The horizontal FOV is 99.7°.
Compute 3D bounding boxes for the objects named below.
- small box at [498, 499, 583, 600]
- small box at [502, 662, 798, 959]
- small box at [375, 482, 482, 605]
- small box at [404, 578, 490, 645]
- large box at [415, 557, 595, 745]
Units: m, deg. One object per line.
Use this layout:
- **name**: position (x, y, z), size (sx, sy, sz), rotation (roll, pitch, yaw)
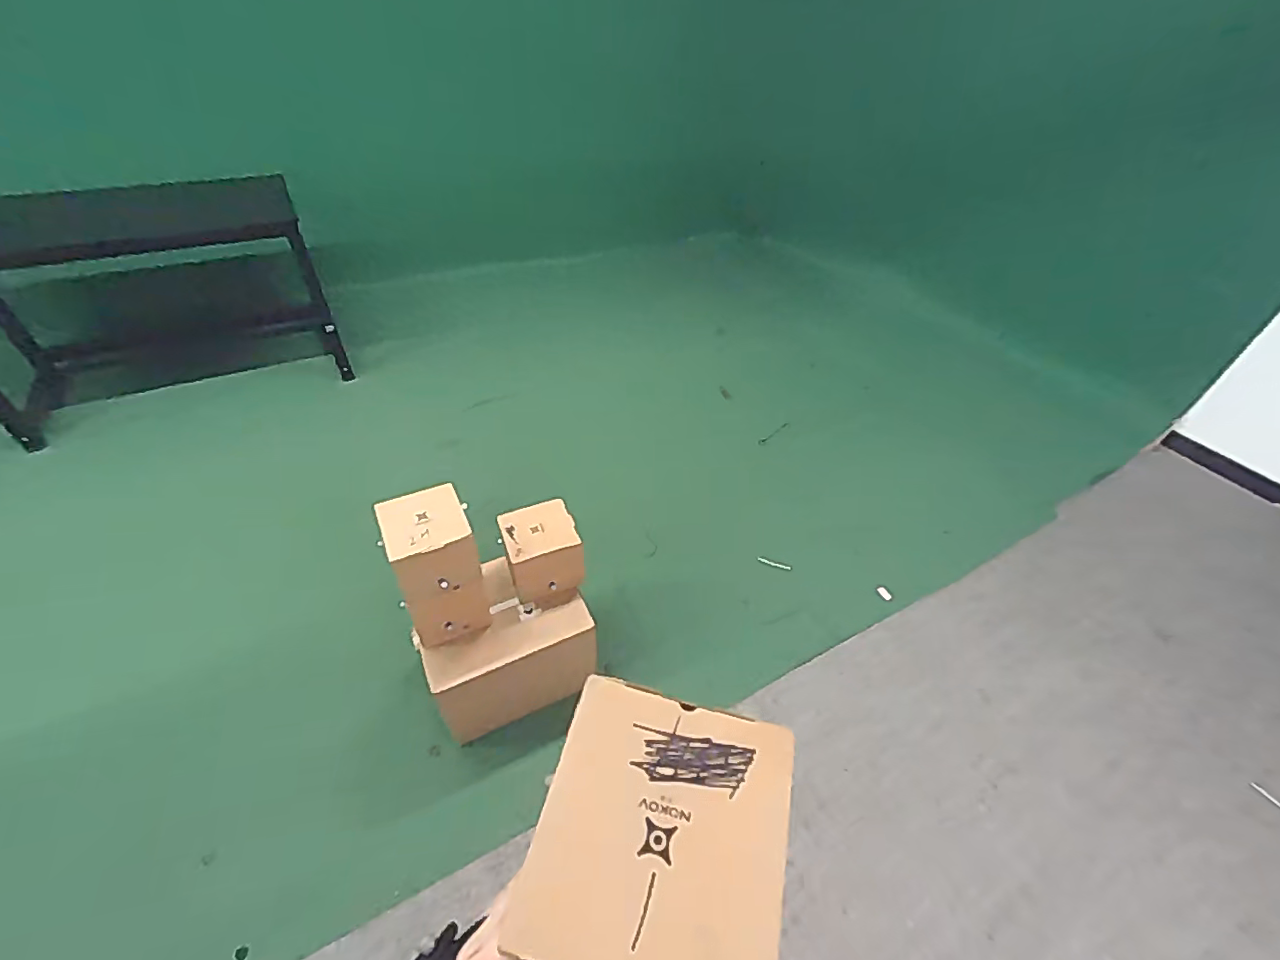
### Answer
- **small box**: position (-0.253, 0.178, 1.385), size (0.179, 0.176, 0.168), rotation (-14, 46, -18)
- **small box**: position (0.016, 0.276, 0.420), size (0.168, 0.176, 0.179), rotation (12, 49, 11)
- **small box**: position (-0.458, 0.138, 1.179), size (0.168, 0.176, 0.179), rotation (-19, 48, -23)
- **small box**: position (-0.470, 0.257, 1.292), size (0.168, 0.176, 0.179), rotation (-18, 47, -22)
- **large box**: position (-0.364, 0.433, 1.465), size (0.408, 0.320, 0.320), rotation (-18, 48, -22)
